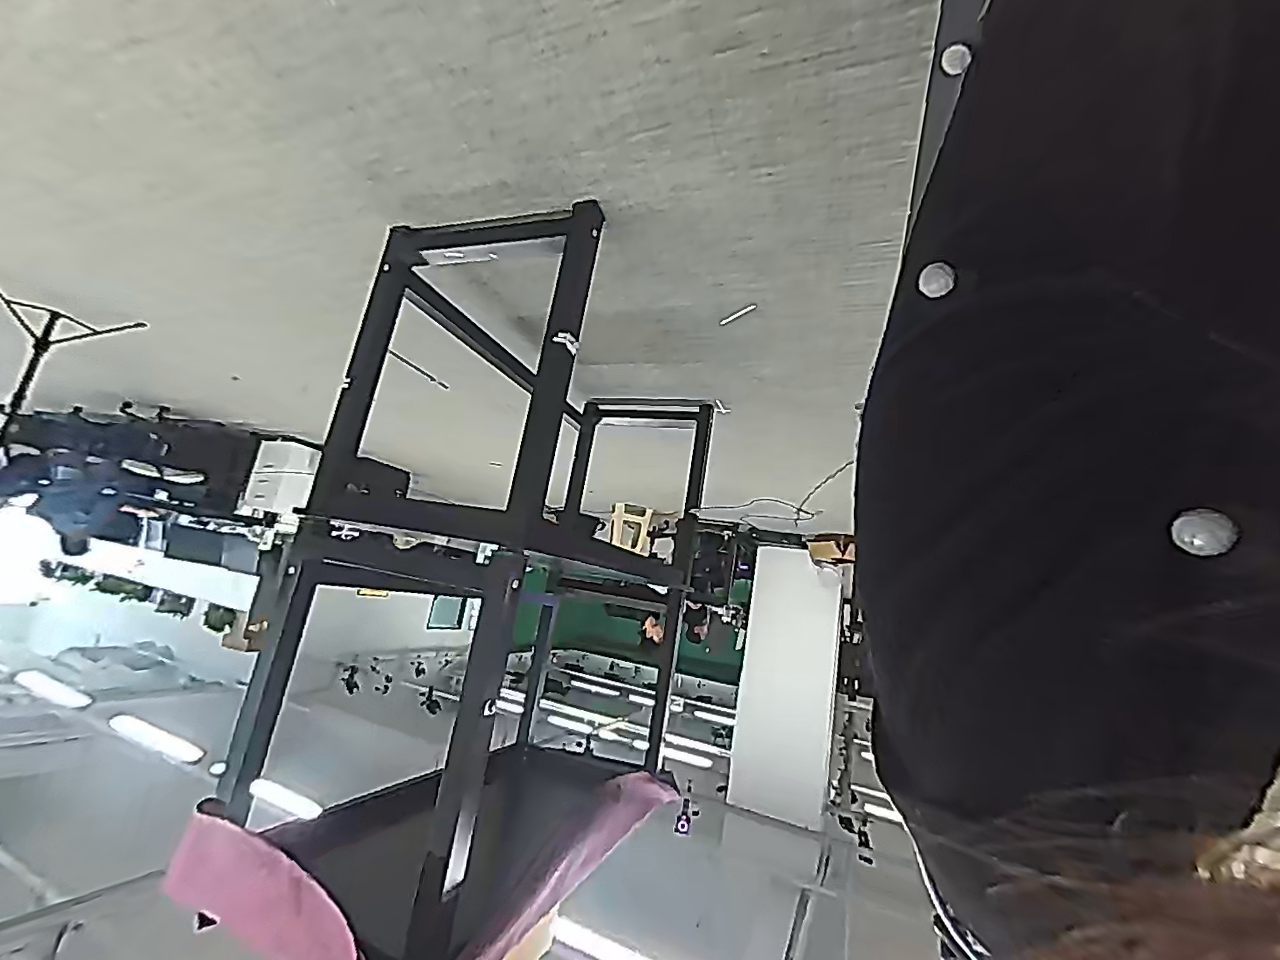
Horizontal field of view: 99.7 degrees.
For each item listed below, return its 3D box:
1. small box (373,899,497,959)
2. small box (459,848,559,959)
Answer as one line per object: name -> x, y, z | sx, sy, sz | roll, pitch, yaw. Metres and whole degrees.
small box -> -0.396, 0.940, 1.017 | 0.168, 0.176, 0.179 | 6, 169, 20
small box -> -0.314, 1.008, 1.278 | 0.179, 0.176, 0.168 | 5, 168, 23
